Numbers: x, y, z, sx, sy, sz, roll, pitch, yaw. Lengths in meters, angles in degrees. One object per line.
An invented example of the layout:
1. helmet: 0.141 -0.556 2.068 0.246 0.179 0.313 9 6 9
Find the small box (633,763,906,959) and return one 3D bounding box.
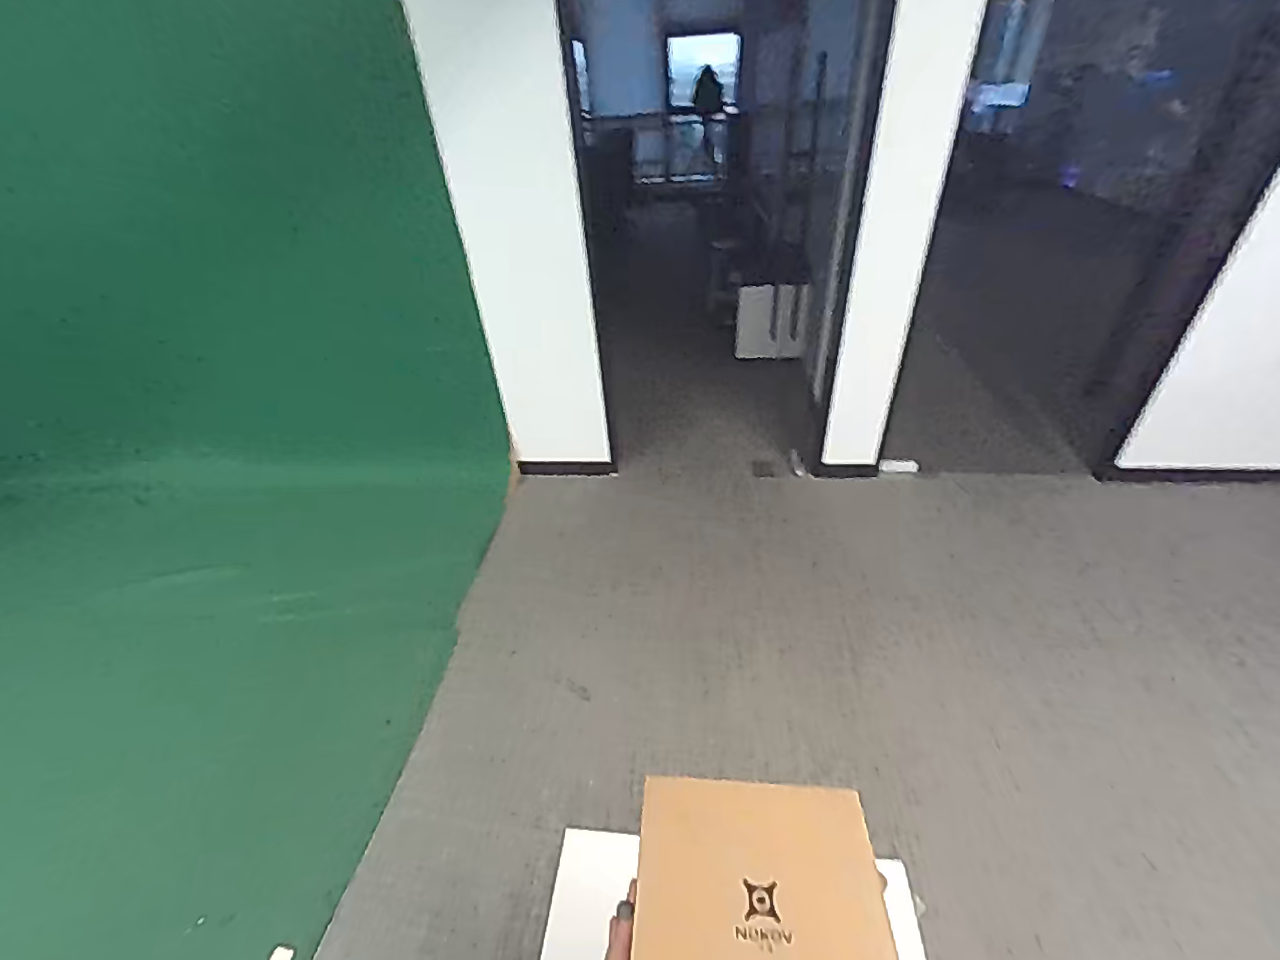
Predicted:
1. small box: 0.082 0.341 0.391 0.168 0.176 0.179 1 32 6
